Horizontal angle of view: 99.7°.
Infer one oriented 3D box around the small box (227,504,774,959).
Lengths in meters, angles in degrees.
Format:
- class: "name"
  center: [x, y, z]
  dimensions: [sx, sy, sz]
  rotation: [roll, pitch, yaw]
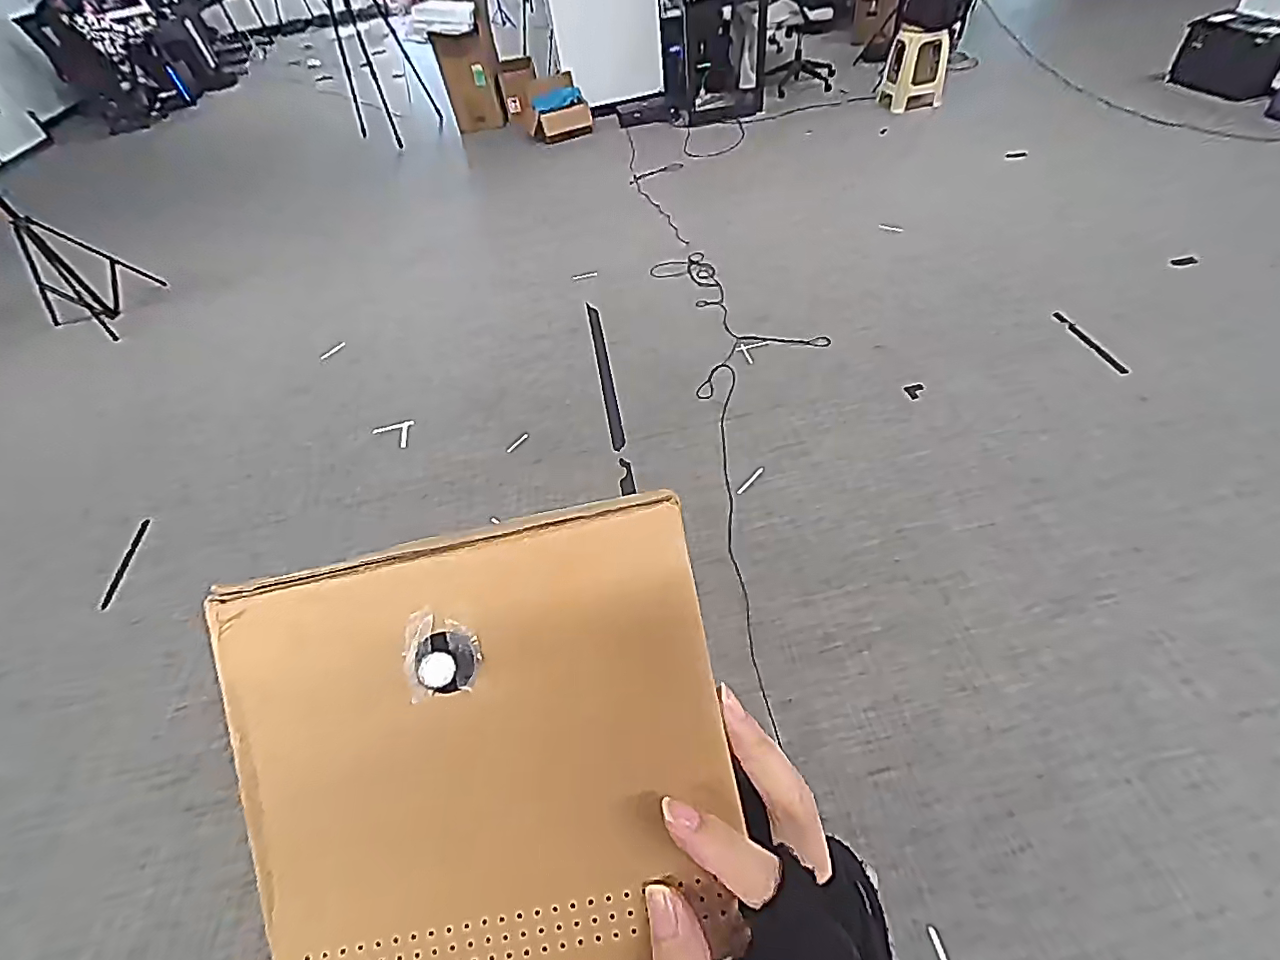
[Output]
- class: "small box"
  center: [-0.049, 0.112, 0.271]
  dimensions: [0.179, 0.168, 0.176]
  rotation: [-12, 89, 2]
